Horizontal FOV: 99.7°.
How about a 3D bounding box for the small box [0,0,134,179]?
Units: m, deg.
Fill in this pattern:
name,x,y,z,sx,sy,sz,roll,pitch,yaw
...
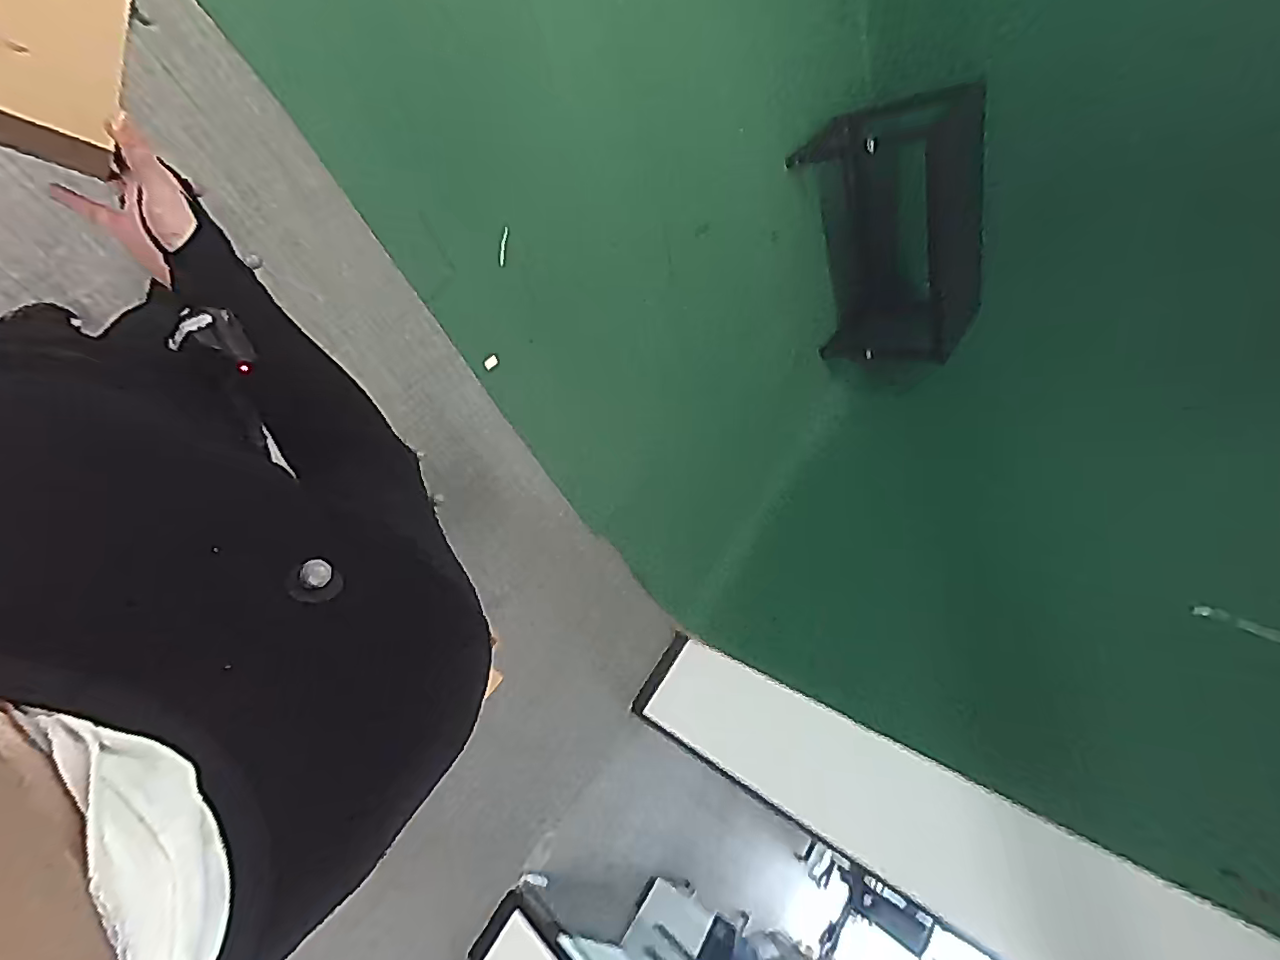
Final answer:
name,x,y,z,sx,sy,sz,roll,pitch,yaw
small box,-0.501,-0.356,0.403,0.168,0.176,0.179,5,101,-48
